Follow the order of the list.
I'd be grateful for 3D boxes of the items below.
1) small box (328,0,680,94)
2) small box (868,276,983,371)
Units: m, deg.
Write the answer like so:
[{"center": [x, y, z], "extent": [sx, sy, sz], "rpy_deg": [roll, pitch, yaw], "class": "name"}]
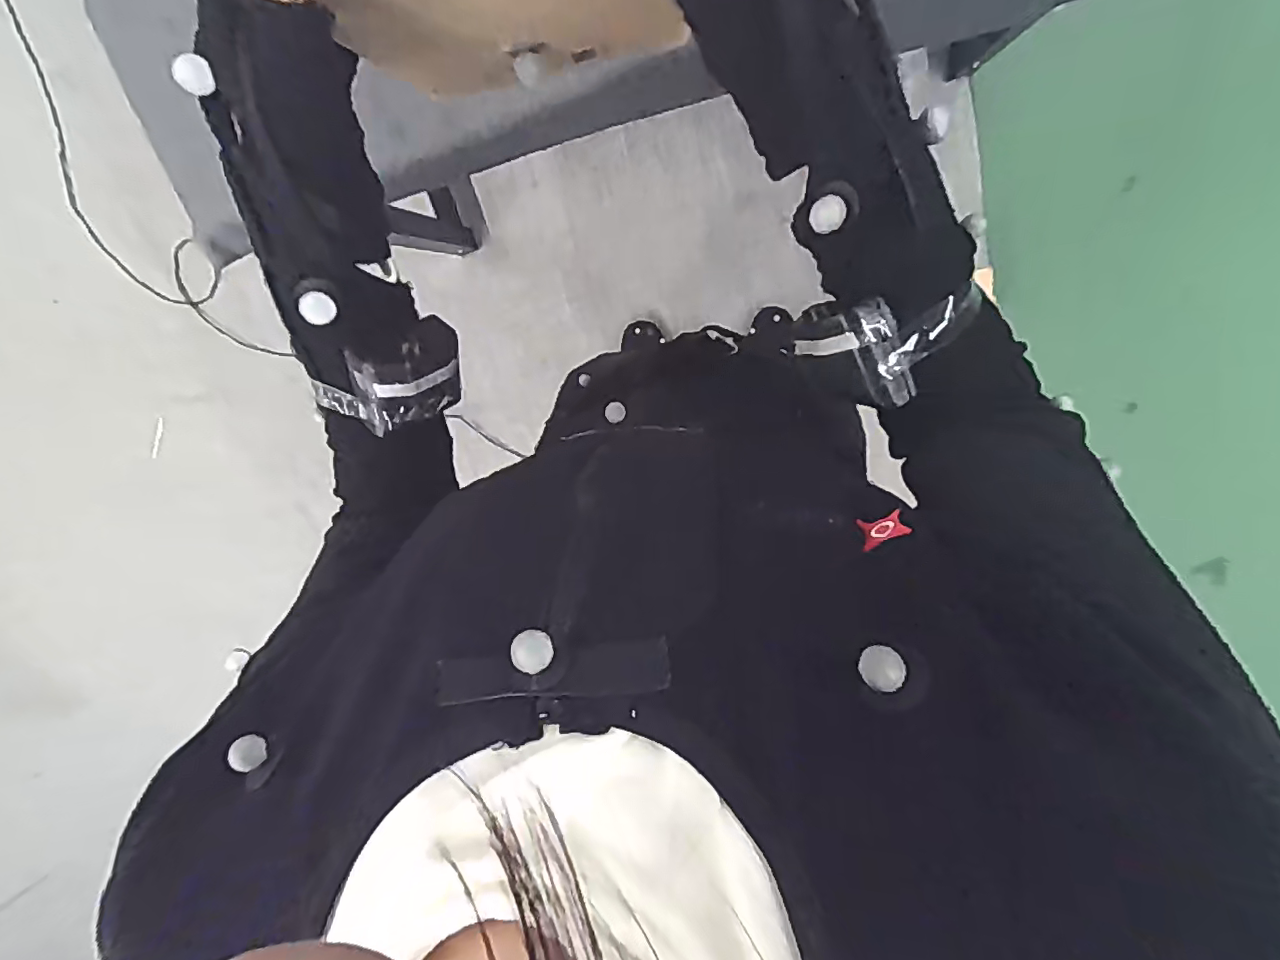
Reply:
[{"center": [-0.073, -0.303, 0.231], "extent": [0.168, 0.176, 0.179], "rpy_deg": [-5, 112, 8], "class": "small box"}, {"center": [0.628, -0.349, 1.201], "extent": [0.179, 0.176, 0.168], "rpy_deg": [-10, 106, 10], "class": "small box"}]
